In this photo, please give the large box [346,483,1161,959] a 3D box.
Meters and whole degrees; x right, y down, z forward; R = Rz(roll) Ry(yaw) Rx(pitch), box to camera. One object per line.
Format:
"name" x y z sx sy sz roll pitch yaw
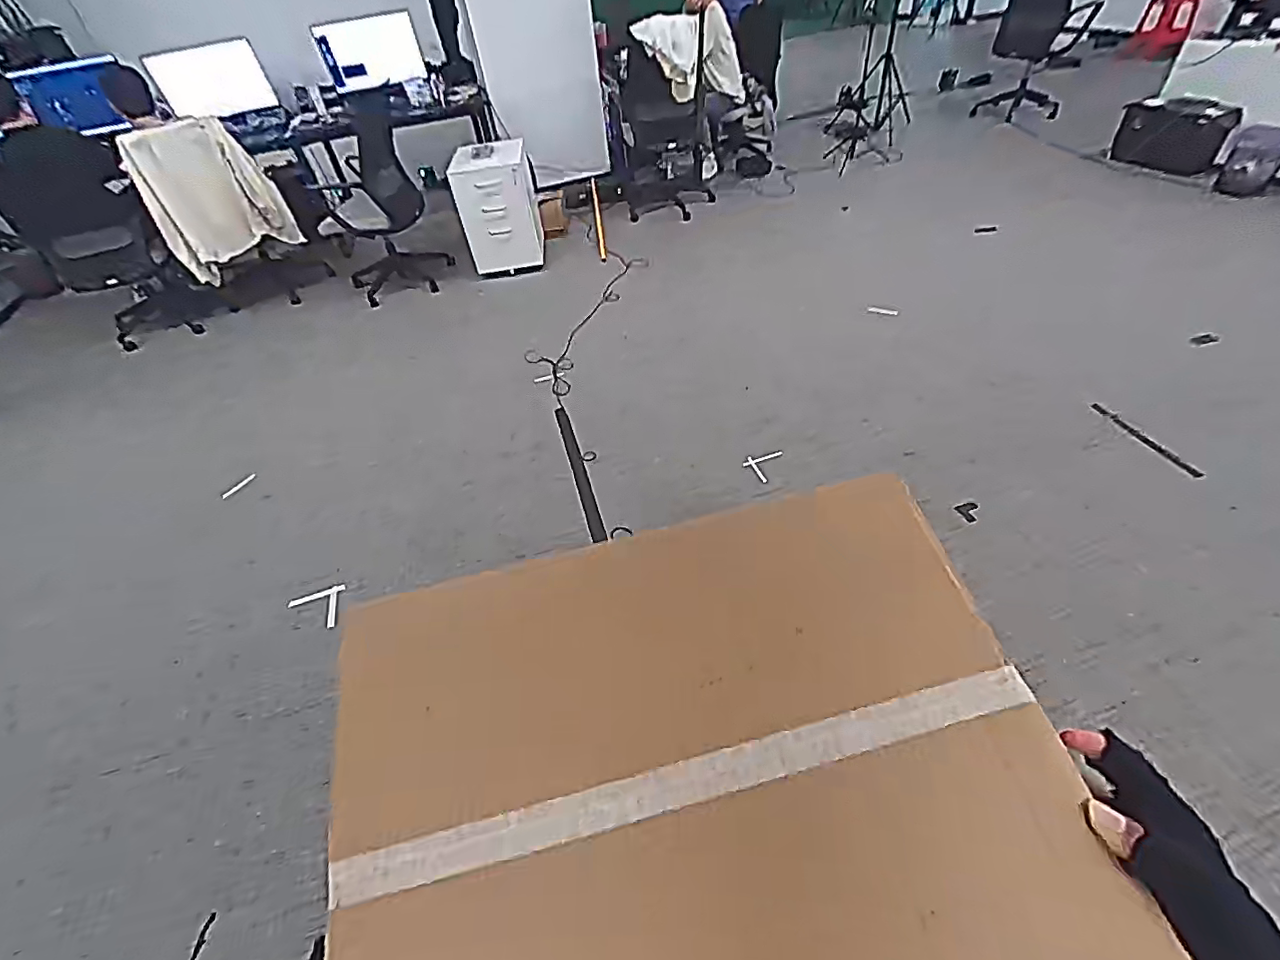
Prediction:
"large box" 0.041 0.251 0.443 0.408 0.320 0.320 -14 58 -4
